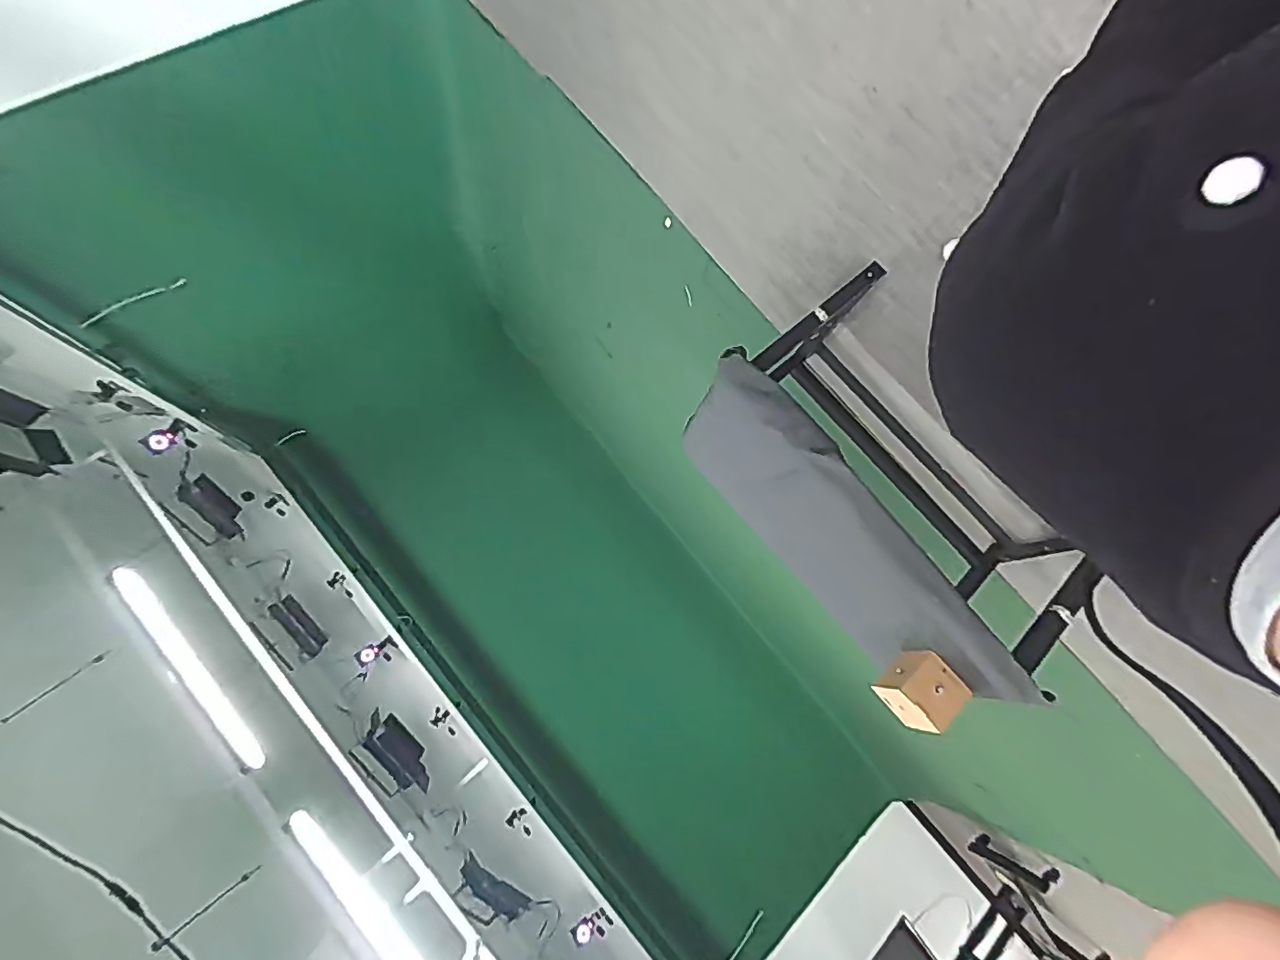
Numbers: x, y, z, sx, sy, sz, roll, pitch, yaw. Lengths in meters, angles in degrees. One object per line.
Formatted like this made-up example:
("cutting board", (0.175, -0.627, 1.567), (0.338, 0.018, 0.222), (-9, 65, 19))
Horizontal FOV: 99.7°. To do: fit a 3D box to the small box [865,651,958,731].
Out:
("small box", (0.855, 0.653, 1.693), (0.168, 0.176, 0.179), (49, 161, 8))
